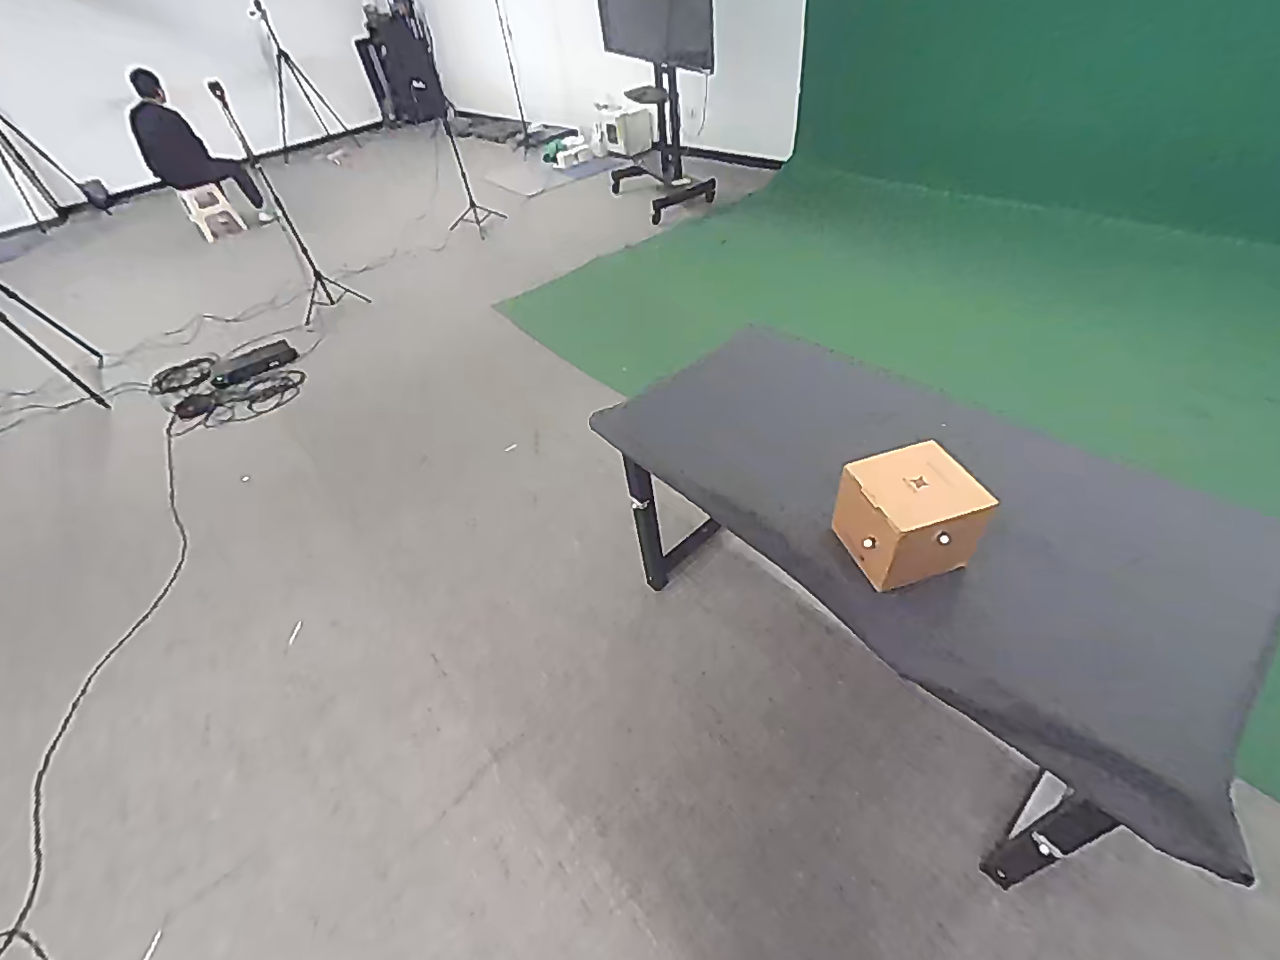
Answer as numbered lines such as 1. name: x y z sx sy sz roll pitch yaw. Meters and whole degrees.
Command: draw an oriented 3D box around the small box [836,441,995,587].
1. small box: 0.464 0.063 0.948 0.179 0.176 0.168 -15 46 -8
